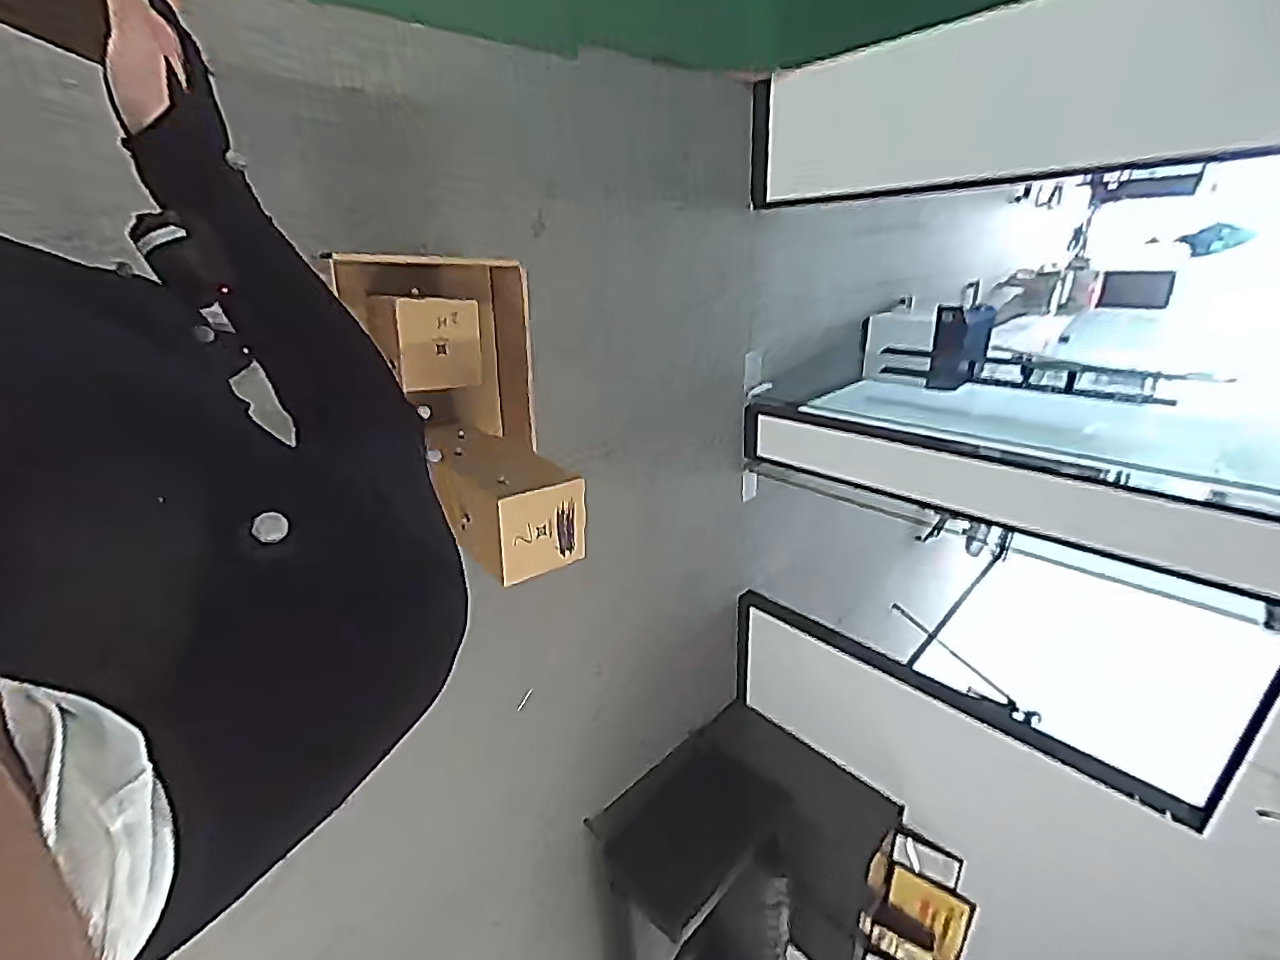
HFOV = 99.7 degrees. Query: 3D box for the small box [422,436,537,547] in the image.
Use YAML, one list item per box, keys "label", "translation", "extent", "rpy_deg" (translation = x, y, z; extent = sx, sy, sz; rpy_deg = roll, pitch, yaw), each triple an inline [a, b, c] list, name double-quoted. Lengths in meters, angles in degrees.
- label: "small box"
  translation: [-0.335, 0.015, 1.119]
  extent: [0.179, 0.176, 0.168]
  rpy_deg: [-17, 118, -40]
